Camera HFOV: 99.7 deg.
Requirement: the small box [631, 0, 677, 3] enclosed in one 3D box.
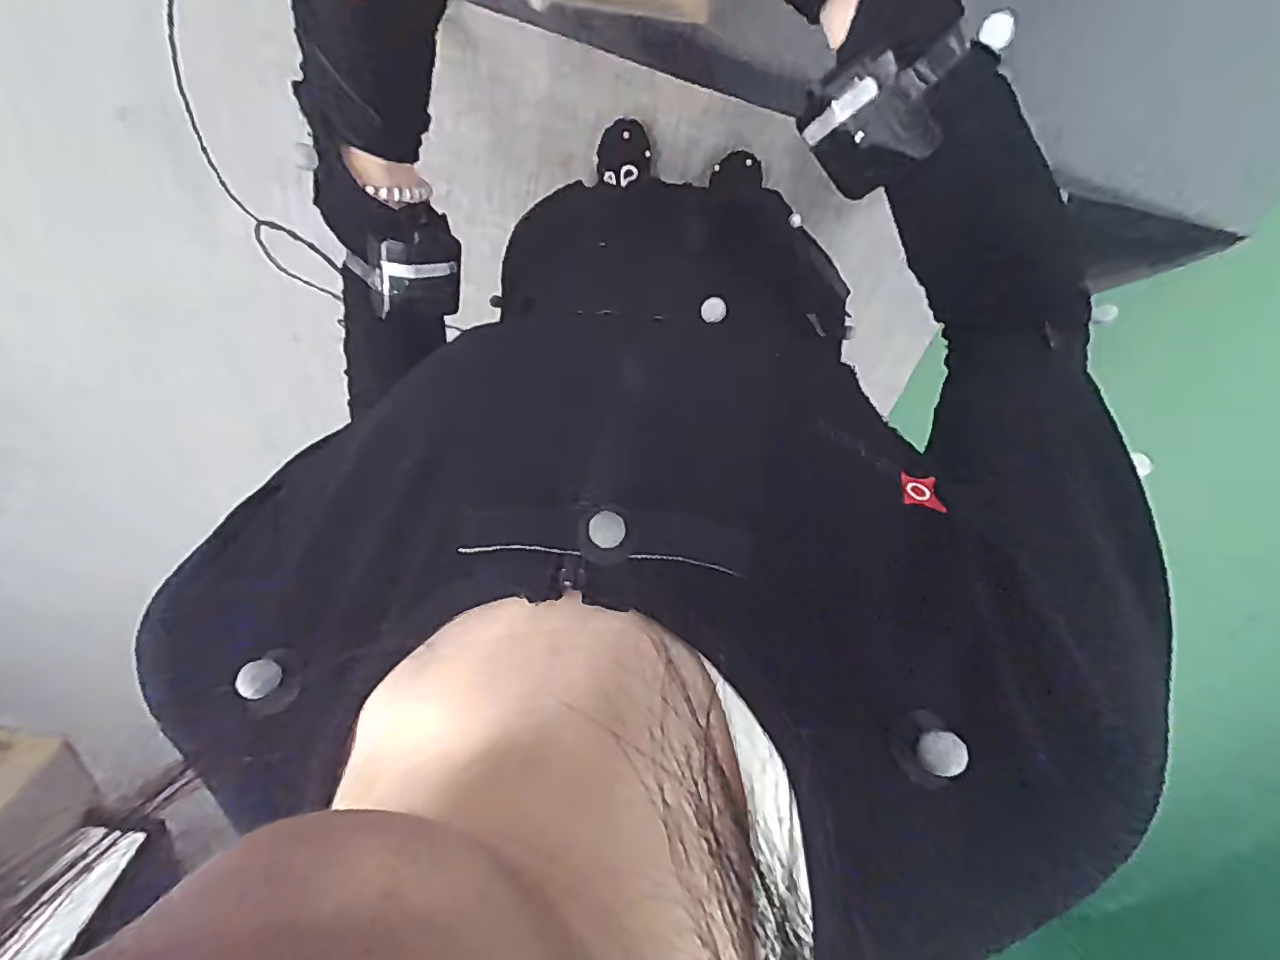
[{"bbox_3d":[-0.061,-0.329,0.218,0.168,0.176,0.179,27,126,20],"label":"small box"}]
